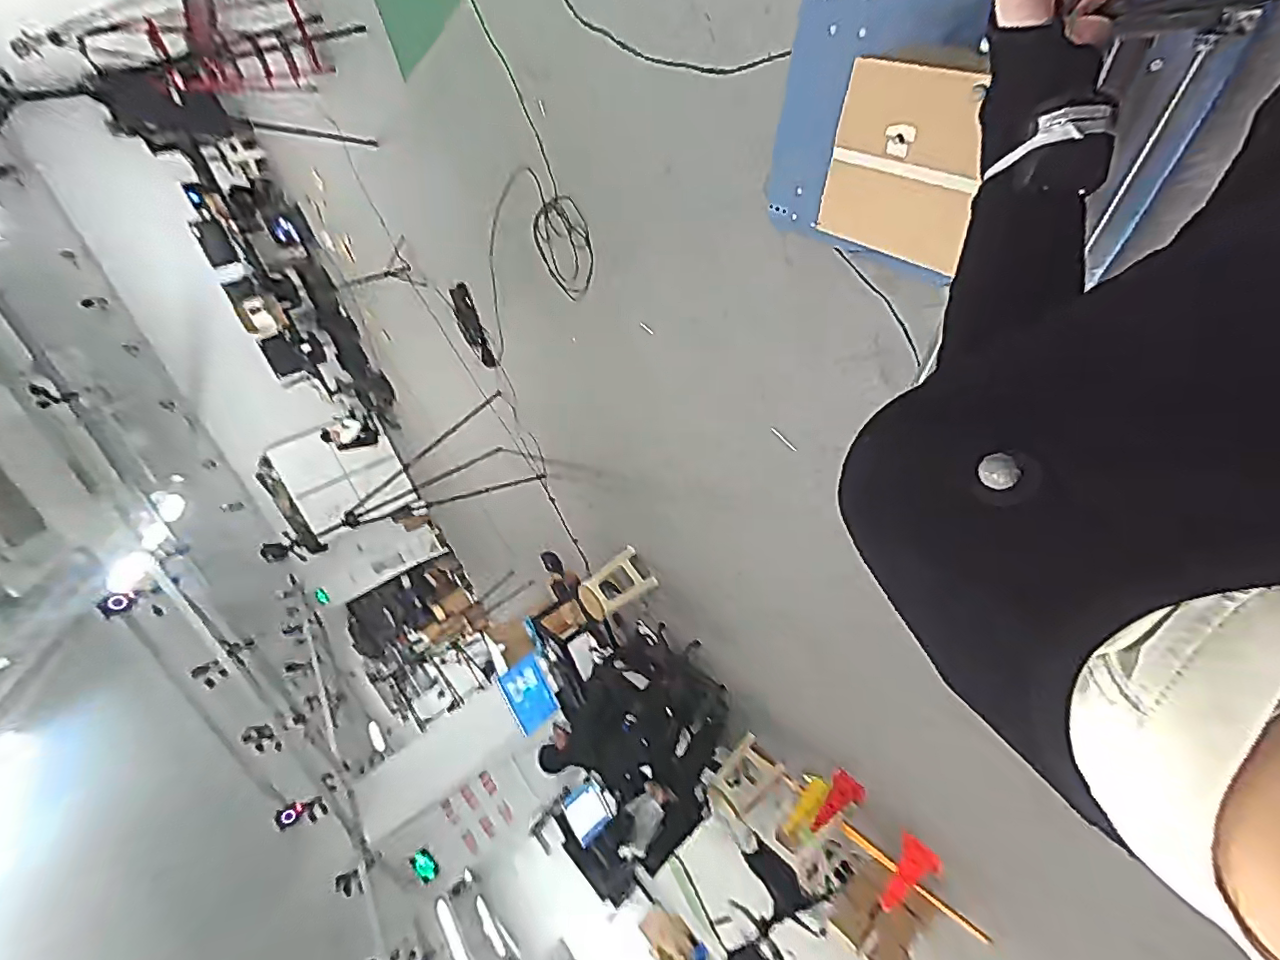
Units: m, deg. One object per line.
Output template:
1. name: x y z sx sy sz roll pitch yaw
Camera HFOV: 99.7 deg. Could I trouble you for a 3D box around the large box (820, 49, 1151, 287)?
1. large box: 0.647 -0.634 1.073 0.408 0.320 0.320 40 146 33
